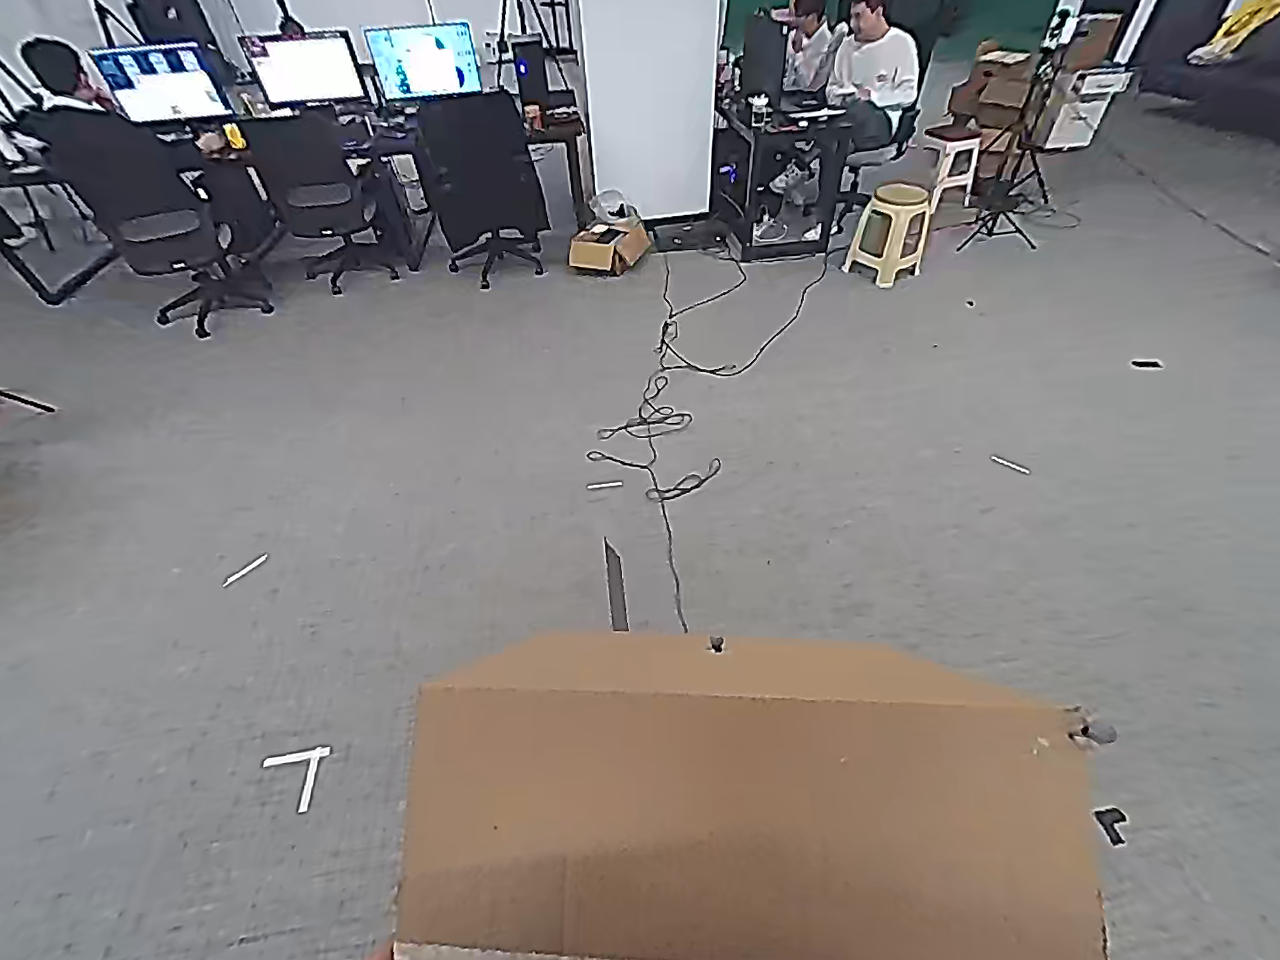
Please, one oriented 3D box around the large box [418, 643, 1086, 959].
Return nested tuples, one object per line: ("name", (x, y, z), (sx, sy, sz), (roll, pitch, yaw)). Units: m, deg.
("large box", (0.066, 0.317, 0.469), (0.408, 0.320, 0.320), (0, 82, 3))
